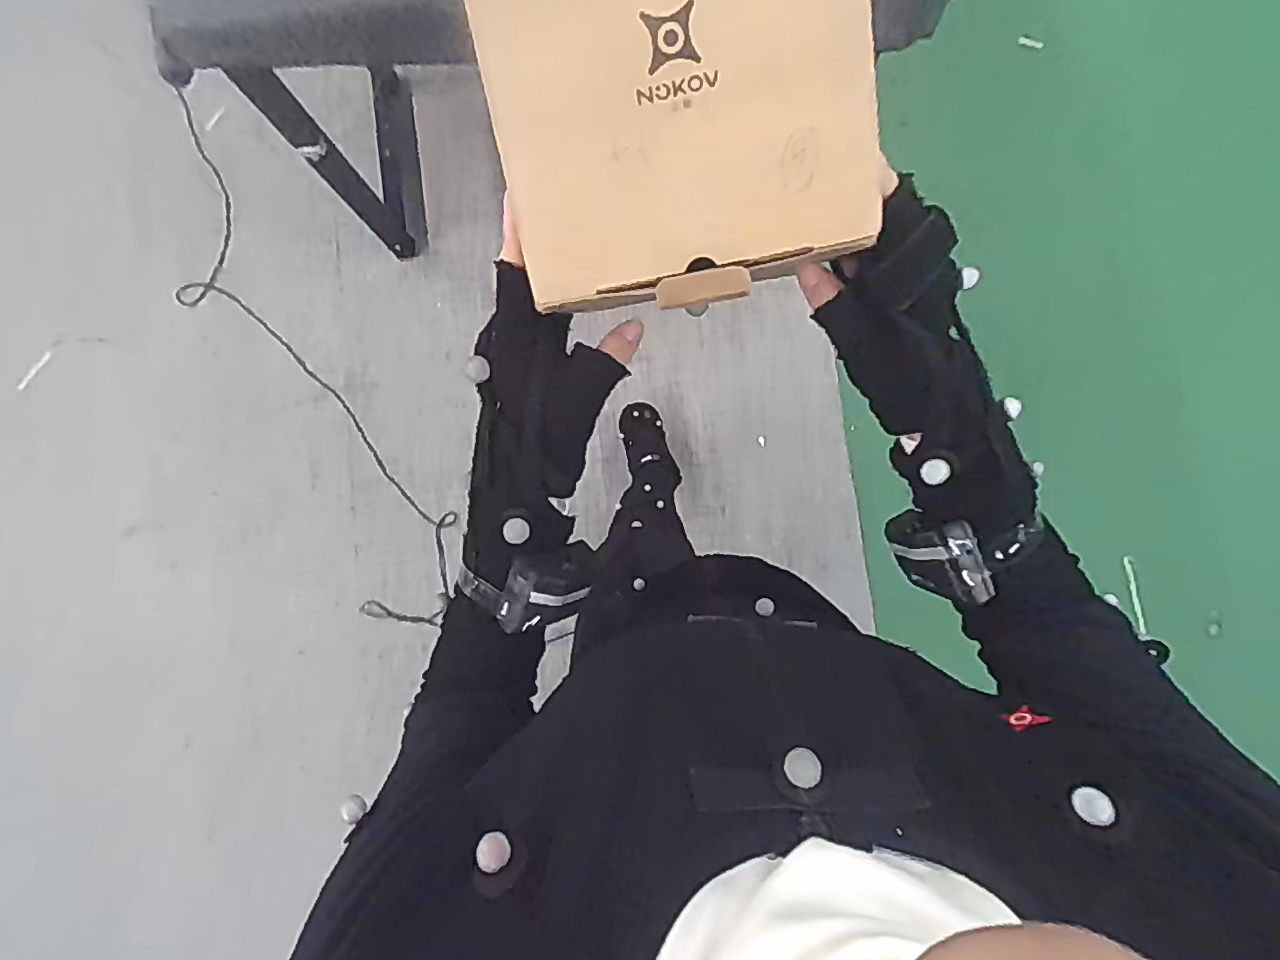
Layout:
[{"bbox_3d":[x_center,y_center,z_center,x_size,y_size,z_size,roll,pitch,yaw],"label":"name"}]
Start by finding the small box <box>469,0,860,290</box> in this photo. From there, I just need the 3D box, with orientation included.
[{"bbox_3d":[0.017,-0.216,0.315,0.168,0.176,0.179,-9,108,7],"label":"small box"}]
